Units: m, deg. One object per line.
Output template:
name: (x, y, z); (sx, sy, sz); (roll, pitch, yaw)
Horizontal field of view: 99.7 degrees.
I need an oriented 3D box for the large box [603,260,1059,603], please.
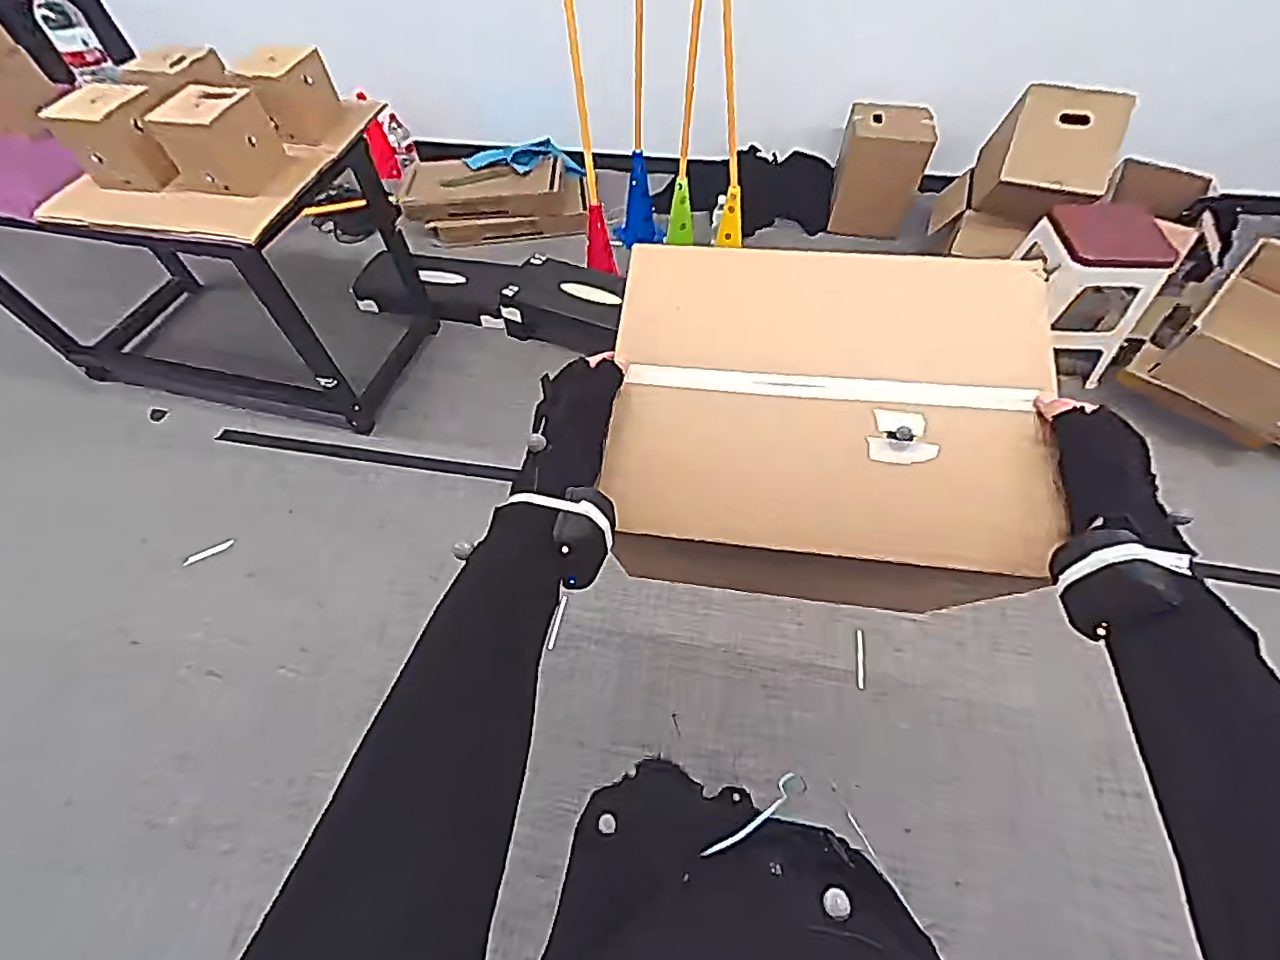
large box: (0.189, -0.037, 0.665); (0.408, 0.320, 0.320); (5, 73, 8)
